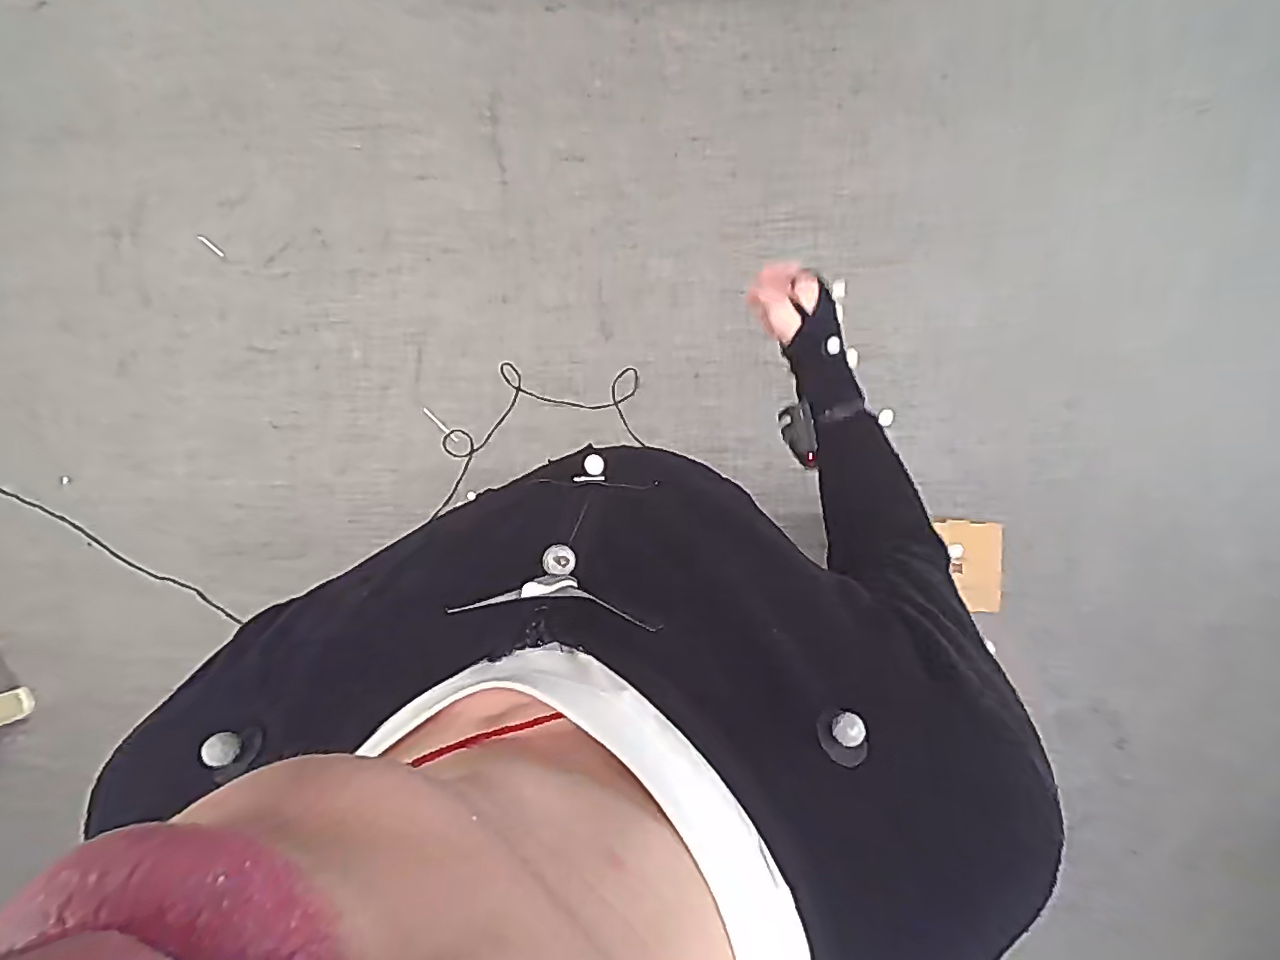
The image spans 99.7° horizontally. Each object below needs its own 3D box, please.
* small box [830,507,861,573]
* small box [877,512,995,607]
[{"bbox_3d":[0.636,0.163,1.496,0.179,0.176,0.168,-1,91,1],"label":"small box"},{"bbox_3d":[0.620,0.162,1.151,0.168,0.176,0.179,1,93,2],"label":"small box"}]
